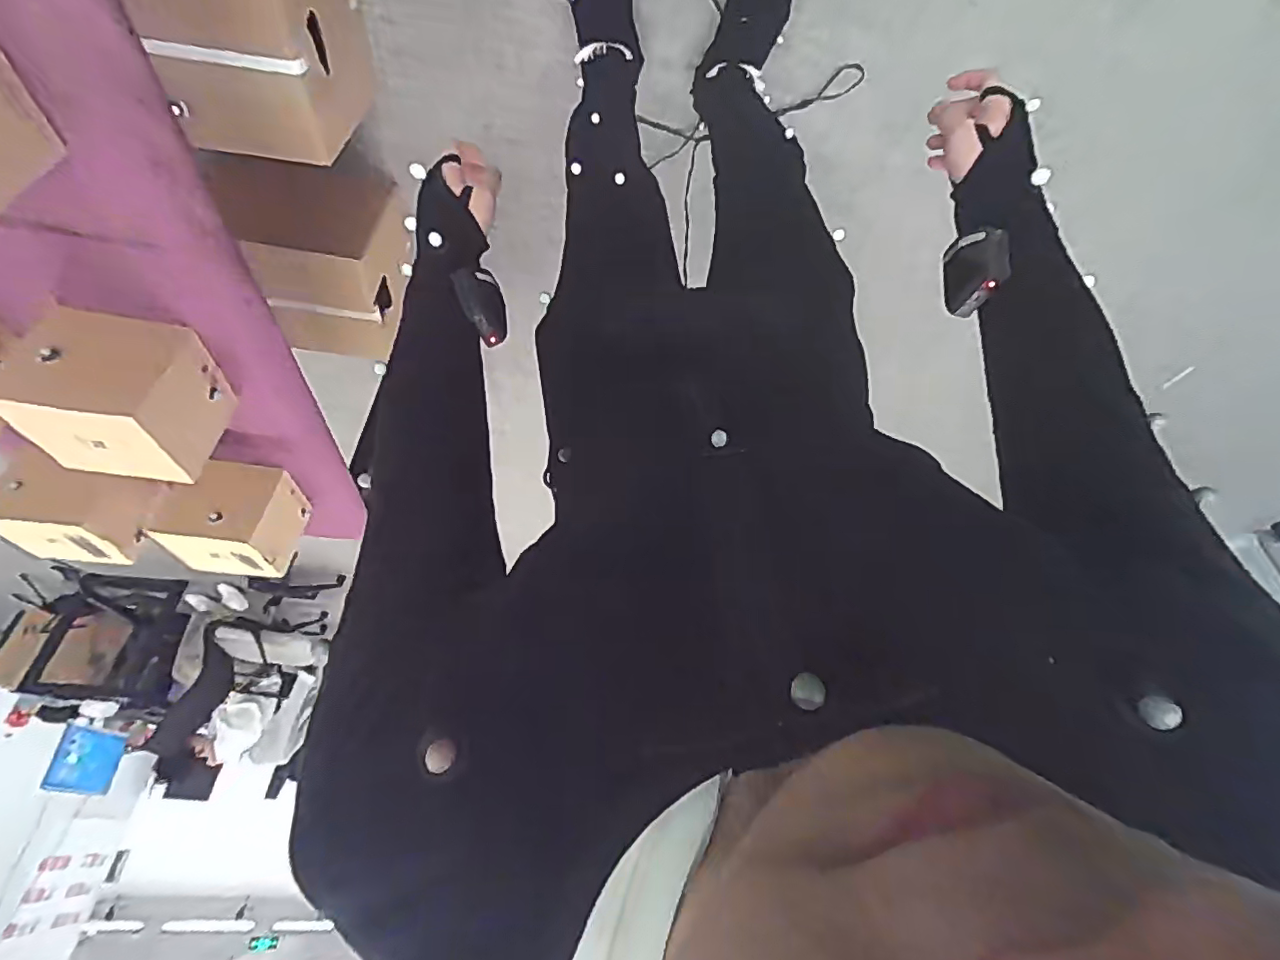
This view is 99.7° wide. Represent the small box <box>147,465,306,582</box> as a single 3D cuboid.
[{"bbox_3d":[-0.798,0.086,1.073,0.179,0.176,0.168,8,146,-6],"label":"small box"}]

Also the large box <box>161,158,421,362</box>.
[{"bbox_3d":[-0.811,-0.535,1.338,0.408,0.320,0.320,7,146,-7],"label":"large box"}]

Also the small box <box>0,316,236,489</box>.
[{"bbox_3d":[-0.736,-0.110,0.774,0.179,0.176,0.168,8,147,-8],"label":"small box"}]

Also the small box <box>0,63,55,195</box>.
[{"bbox_3d":[-0.672,-0.323,0.441,0.179,0.176,0.168,9,147,-8],"label":"small box"}]
